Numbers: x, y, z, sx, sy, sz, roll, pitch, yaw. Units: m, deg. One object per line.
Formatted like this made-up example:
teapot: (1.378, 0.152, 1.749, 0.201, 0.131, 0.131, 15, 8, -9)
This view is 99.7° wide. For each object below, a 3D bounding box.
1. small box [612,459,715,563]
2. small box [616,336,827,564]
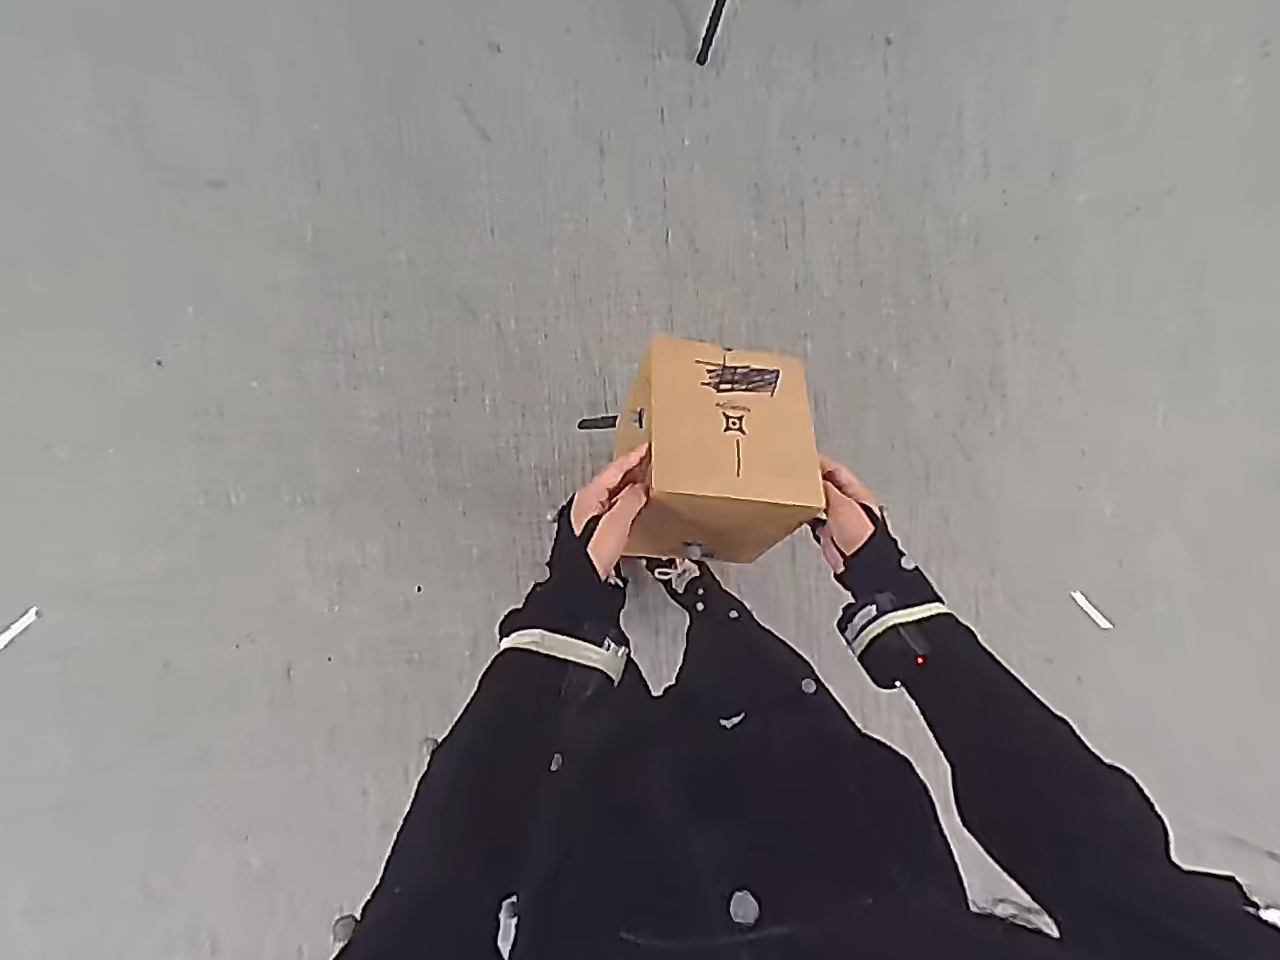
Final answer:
small box: (0.043, 0.039, 0.911, 0.179, 0.176, 0.168, 2, 95, -4)
small box: (0.070, -0.022, 0.576, 0.168, 0.176, 0.179, 5, 65, -13)
